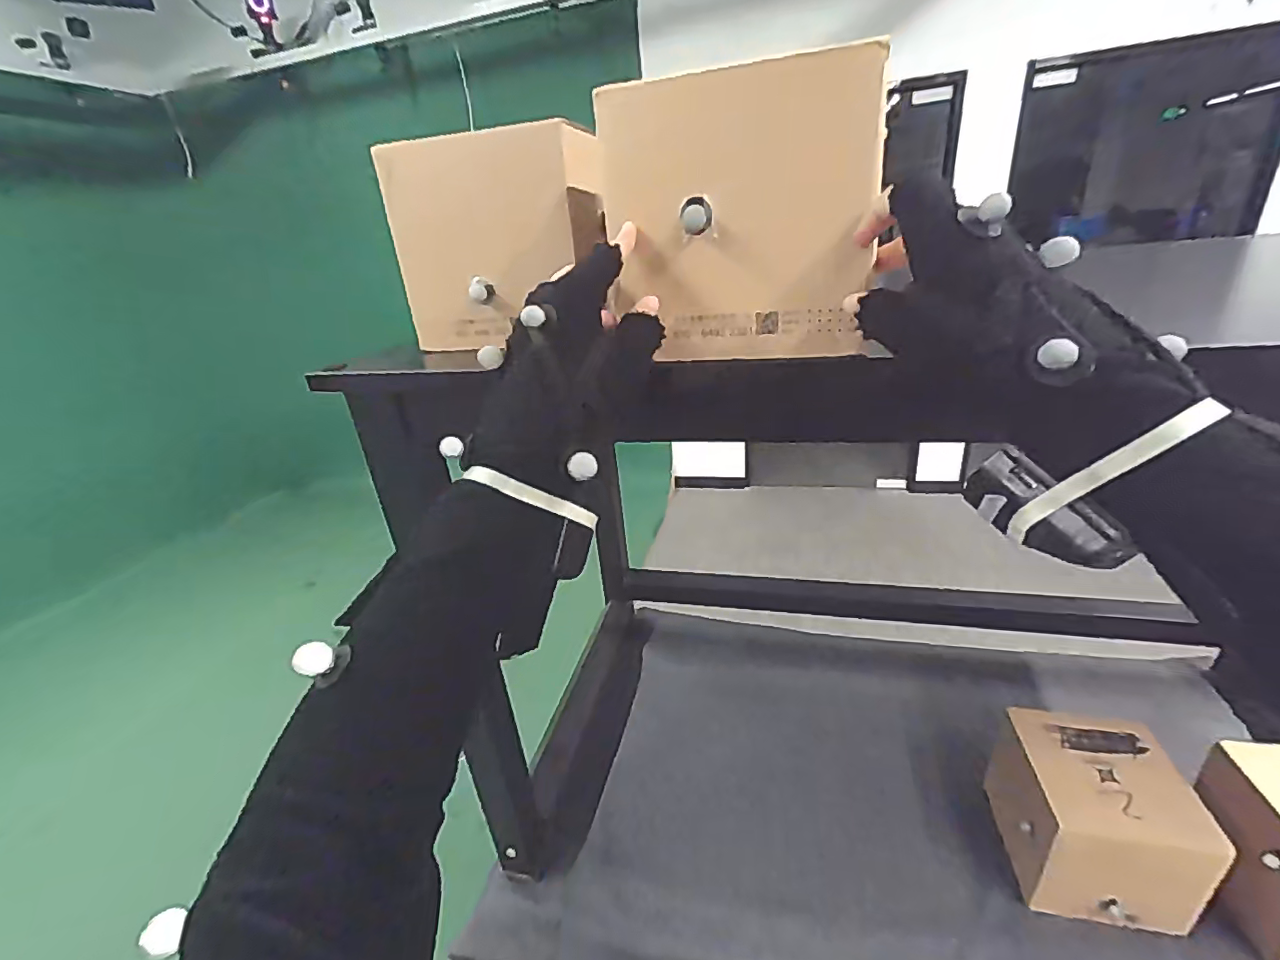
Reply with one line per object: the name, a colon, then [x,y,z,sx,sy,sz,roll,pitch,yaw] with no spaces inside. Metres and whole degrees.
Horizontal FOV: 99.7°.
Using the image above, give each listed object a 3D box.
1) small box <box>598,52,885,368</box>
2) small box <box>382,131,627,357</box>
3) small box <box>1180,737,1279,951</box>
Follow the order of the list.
small box: [0.083,-0.184,0.408,0.168,0.176,0.179,2,26,16]
small box: [-0.108,-0.222,0.526,0.168,0.176,0.179,1,27,14]
small box: [0.801,0.439,0.630,0.168,0.176,0.179,1,24,14]
